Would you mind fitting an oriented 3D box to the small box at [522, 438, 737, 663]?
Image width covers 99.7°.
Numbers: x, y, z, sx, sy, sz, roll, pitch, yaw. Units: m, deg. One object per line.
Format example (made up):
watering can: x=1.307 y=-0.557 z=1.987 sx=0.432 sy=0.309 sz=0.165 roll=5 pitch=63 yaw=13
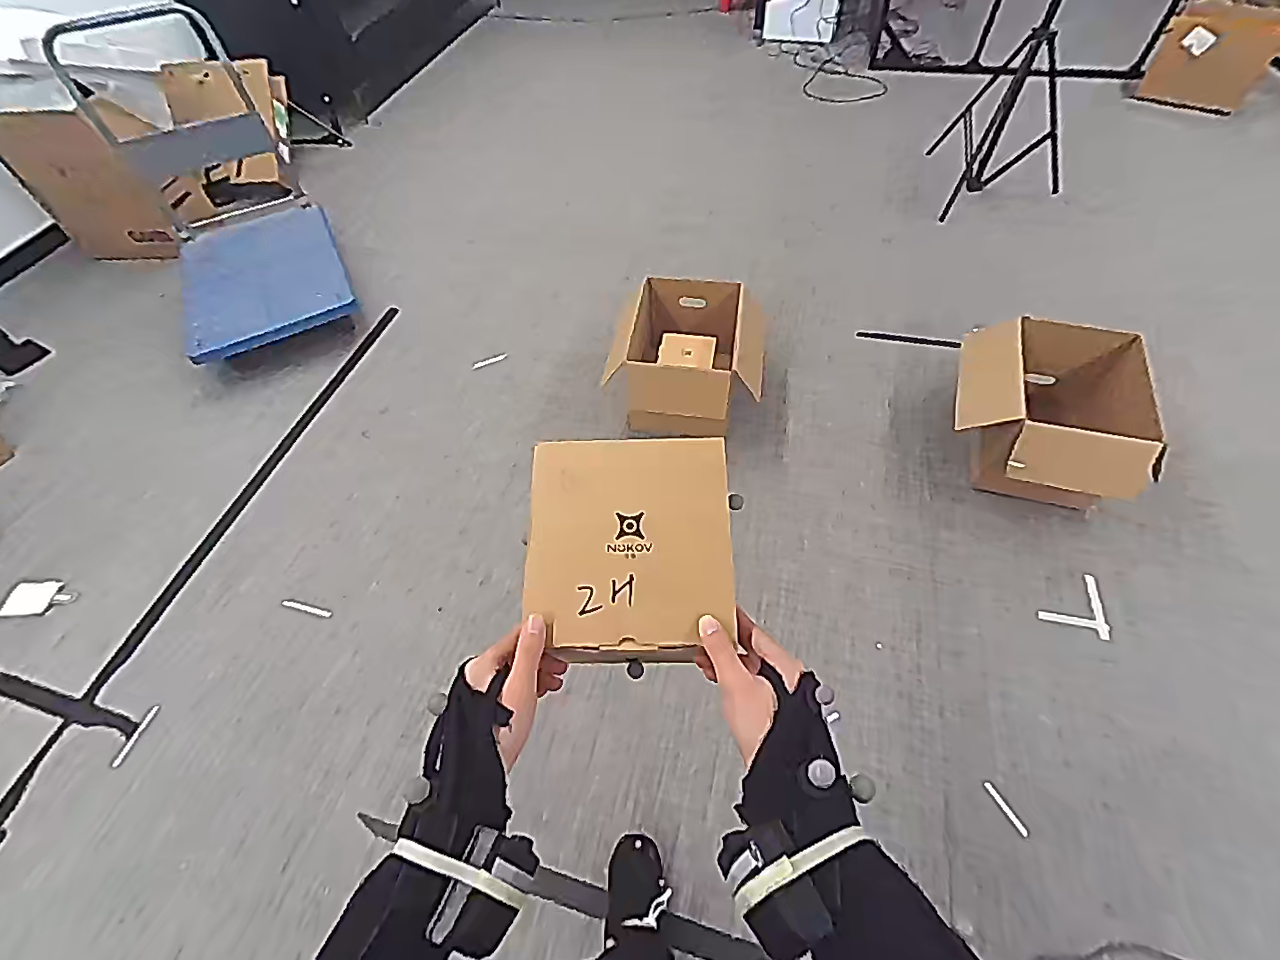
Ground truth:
small box: x=-0.004 y=0.075 z=0.511 sx=0.168 sy=0.176 sz=0.179 roll=-1 pitch=68 yaw=3
